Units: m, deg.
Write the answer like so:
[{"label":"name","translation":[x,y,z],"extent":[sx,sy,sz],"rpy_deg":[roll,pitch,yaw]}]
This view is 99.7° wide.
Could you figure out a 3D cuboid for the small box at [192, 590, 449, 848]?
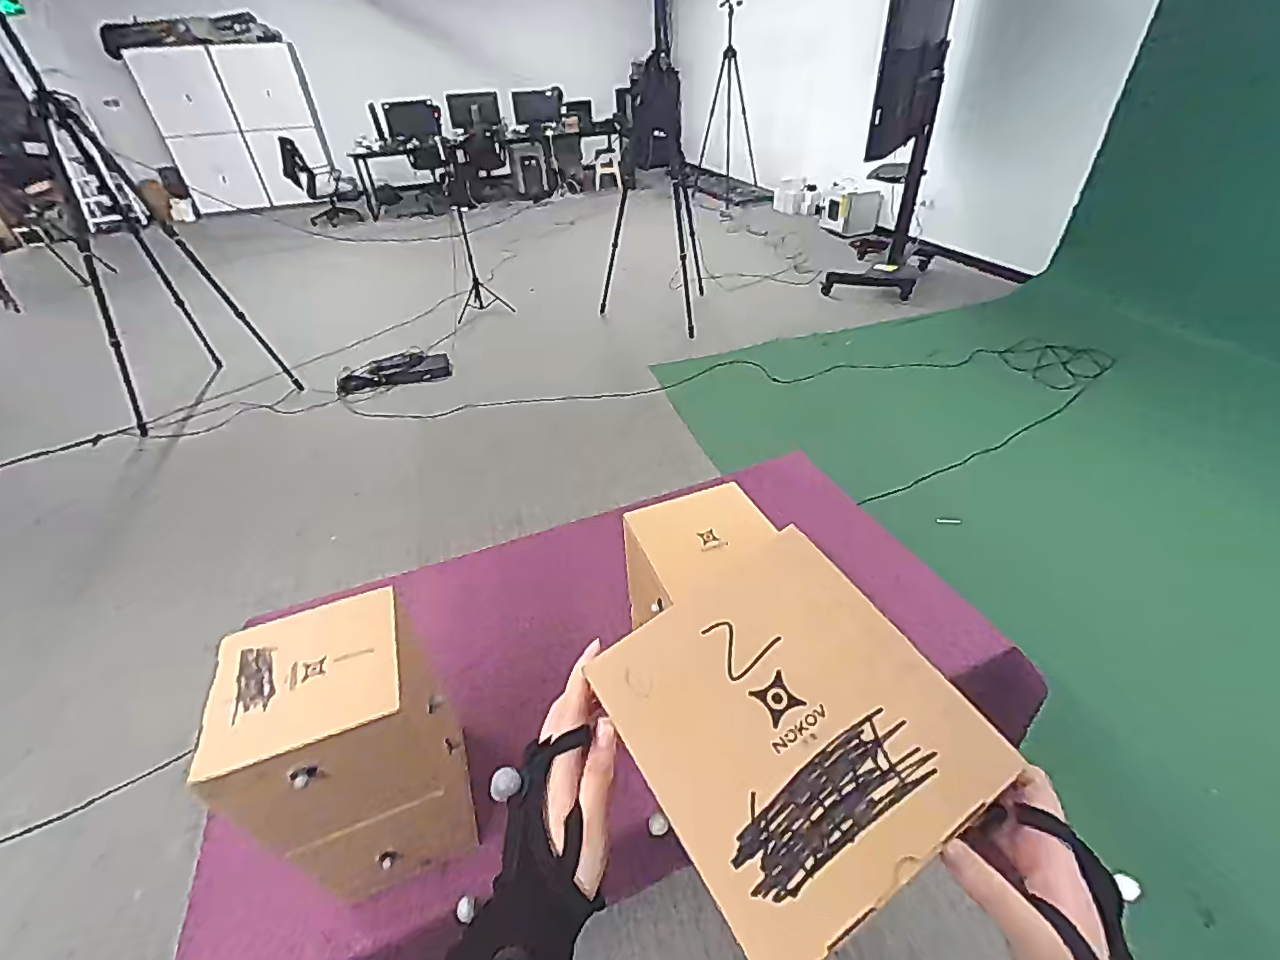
[{"label":"small box","translation":[-0.325,0.256,0.587],"extent":[0.179,0.176,0.168],"rpy_deg":[-16,40,-16]}]

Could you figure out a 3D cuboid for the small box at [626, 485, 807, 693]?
[{"label":"small box","translation":[0.088,0.137,0.702],"extent":[0.168,0.176,0.179],"rpy_deg":[-16,40,-15]}]

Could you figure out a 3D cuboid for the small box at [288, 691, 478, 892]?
[{"label":"small box","translation":[-0.315,0.385,0.689],"extent":[0.168,0.176,0.179],"rpy_deg":[-16,39,-15]}]
